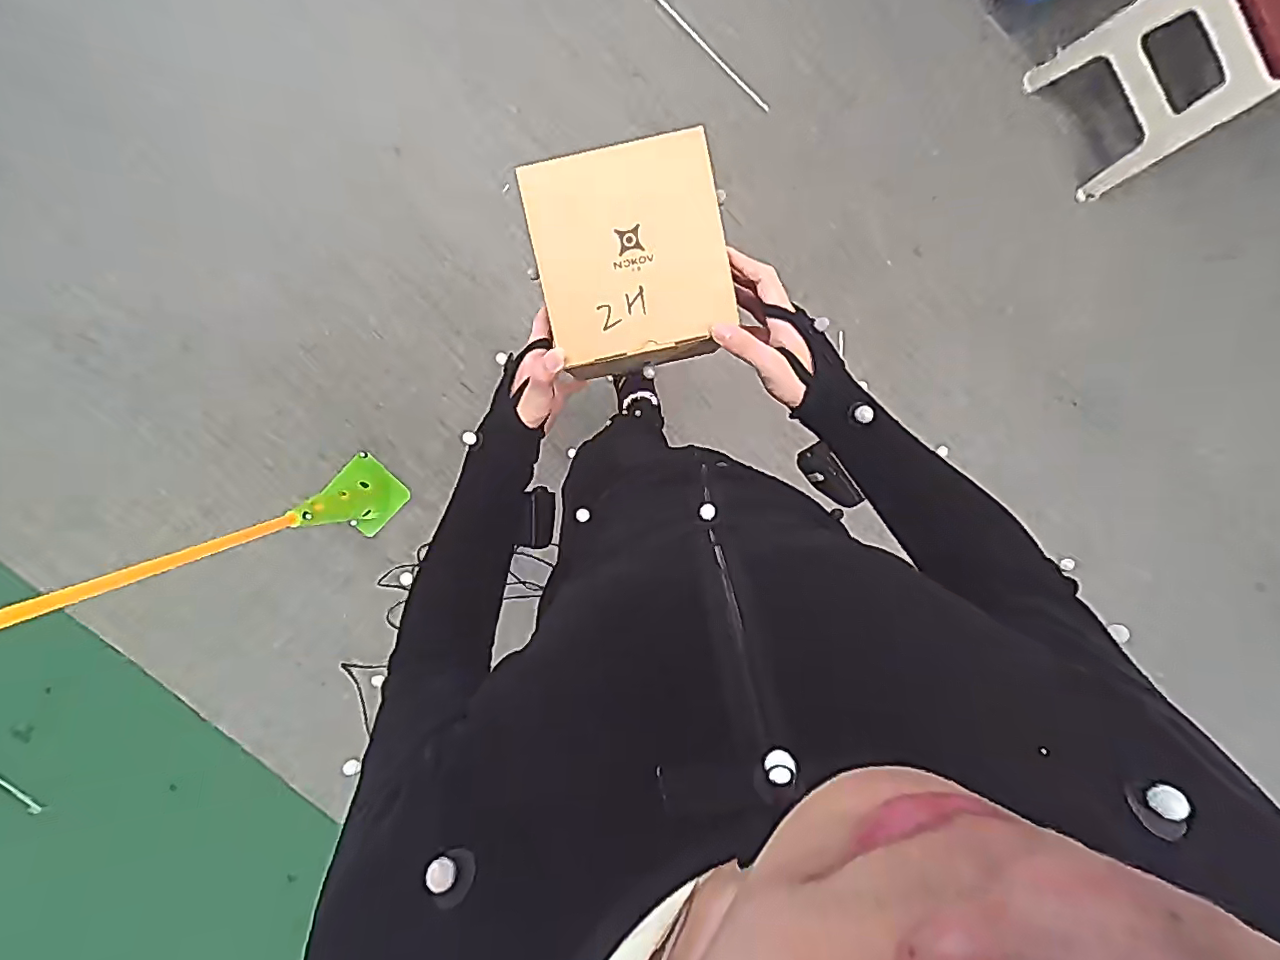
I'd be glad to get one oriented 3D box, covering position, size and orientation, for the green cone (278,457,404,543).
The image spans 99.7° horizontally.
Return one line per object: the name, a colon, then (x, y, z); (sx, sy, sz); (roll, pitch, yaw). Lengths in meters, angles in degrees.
green cone: (-0.823, 0.087, 1.420); (0.202, 0.368, 0.200); (44, 97, -7)
